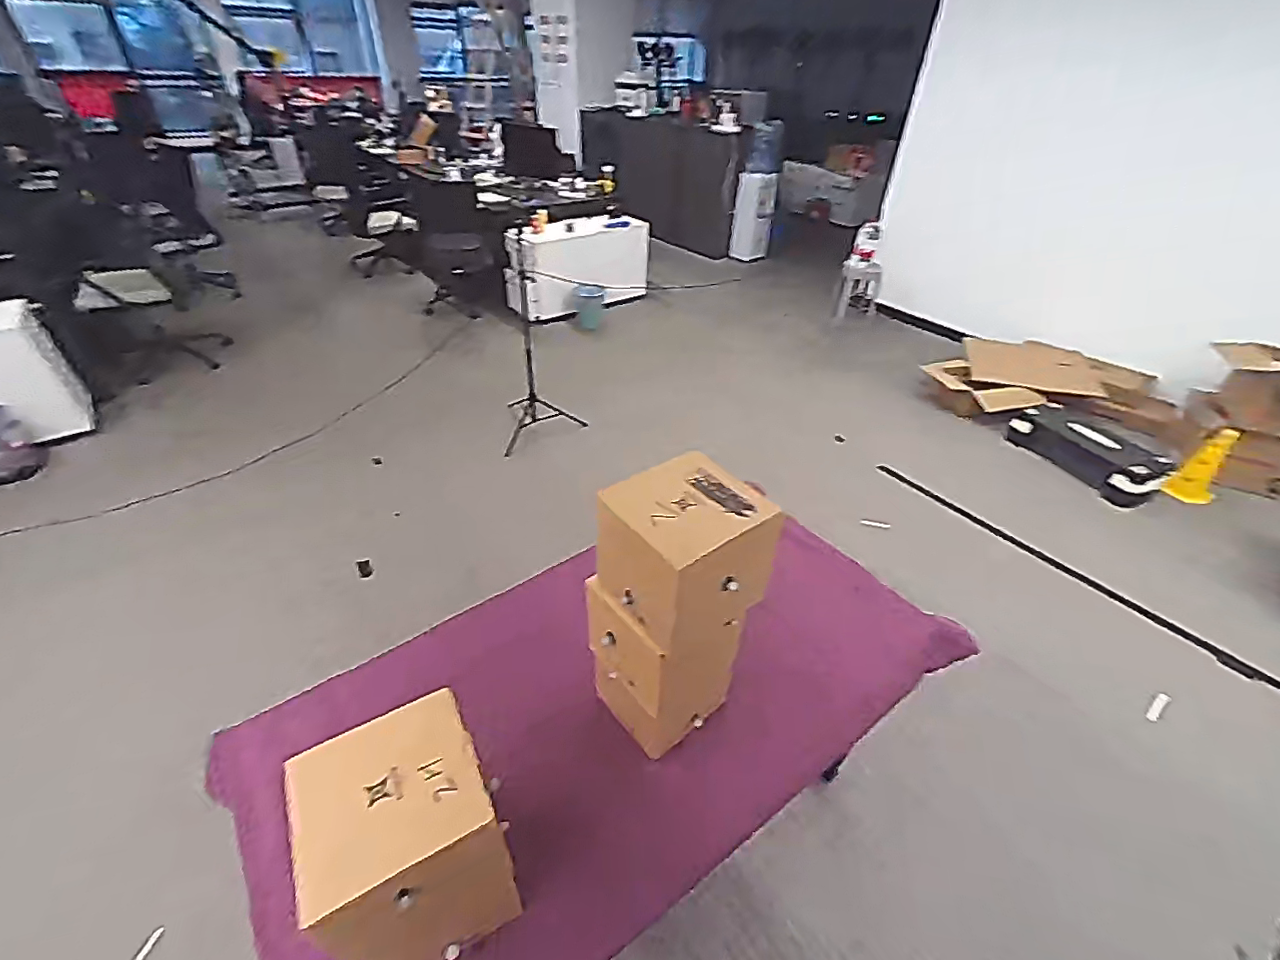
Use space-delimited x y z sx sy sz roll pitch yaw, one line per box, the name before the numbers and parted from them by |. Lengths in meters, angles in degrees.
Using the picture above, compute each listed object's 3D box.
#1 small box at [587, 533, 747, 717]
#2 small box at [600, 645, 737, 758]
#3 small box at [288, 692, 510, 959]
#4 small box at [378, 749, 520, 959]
small box | 0.038 0.219 0.825 0.179 0.176 0.168 -26 45 -32
small box | 0.041 0.335 0.941 0.179 0.176 0.168 -26 44 -32
small box | -0.260 0.381 0.601 0.179 0.176 0.168 -18 44 -25
small box | -0.267 0.502 0.712 0.168 0.176 0.179 -17 43 -23
